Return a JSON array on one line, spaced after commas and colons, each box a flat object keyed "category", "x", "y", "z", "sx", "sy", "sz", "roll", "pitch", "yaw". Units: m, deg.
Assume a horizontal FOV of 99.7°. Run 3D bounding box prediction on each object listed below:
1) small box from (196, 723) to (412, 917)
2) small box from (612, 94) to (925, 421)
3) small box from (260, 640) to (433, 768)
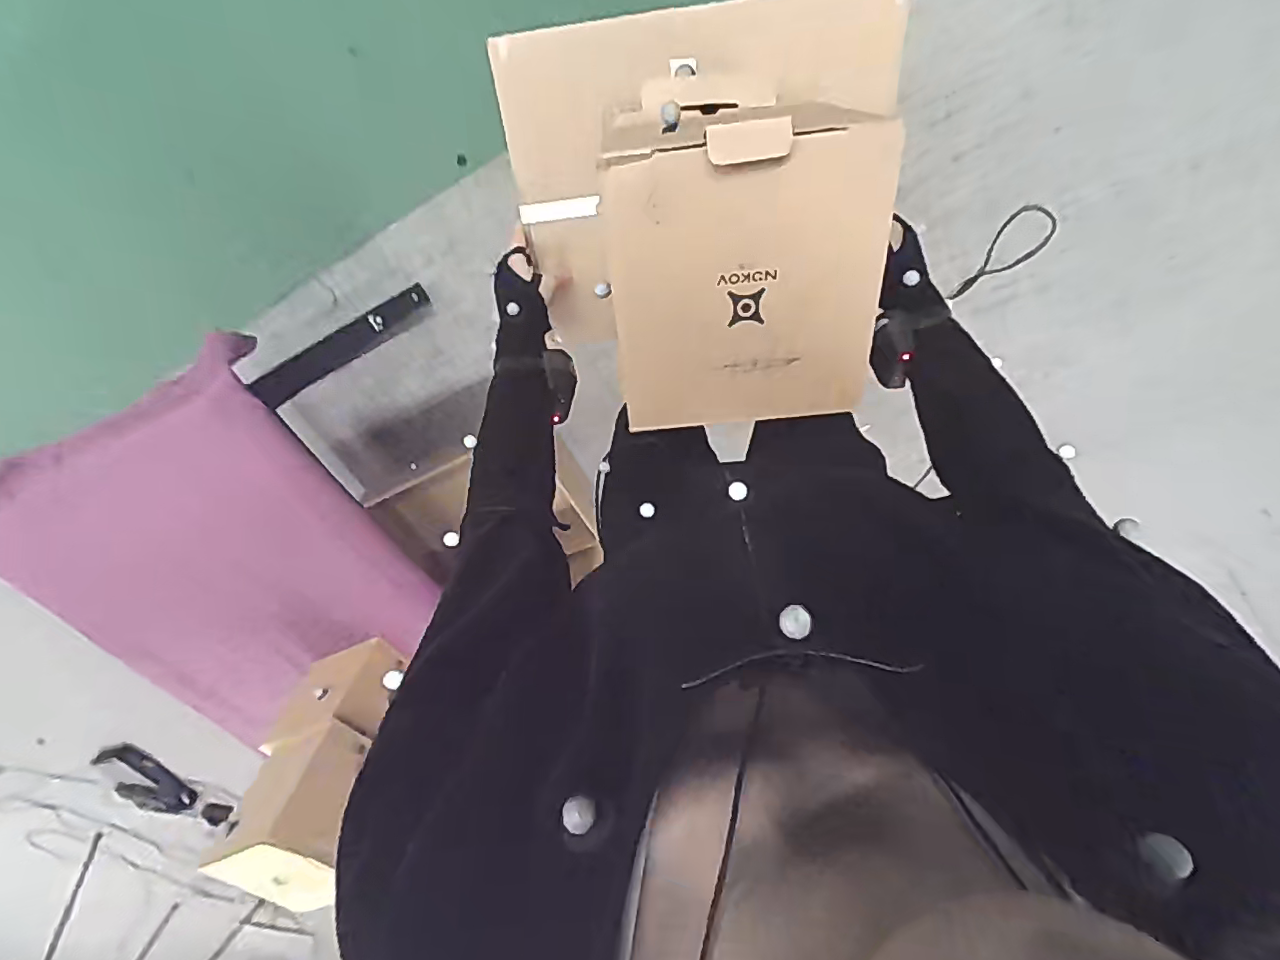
[{"category": "small box", "x": -0.470, "y": 0.489, "z": 0.785, "sx": 0.179, "sy": 0.176, "sz": 0.168, "roll": -31, "pitch": 116, "yaw": 21}, {"category": "small box", "x": 0.070, "y": -0.164, "z": 0.389, "sx": 0.168, "sy": 0.176, "sz": 0.179, "roll": -4, "pitch": 127, "yaw": 3}, {"category": "small box", "x": -0.484, "y": 0.405, "z": 0.929, "sx": 0.179, "sy": 0.176, "sz": 0.168, "roll": -25, "pitch": 117, "yaw": 18}]
